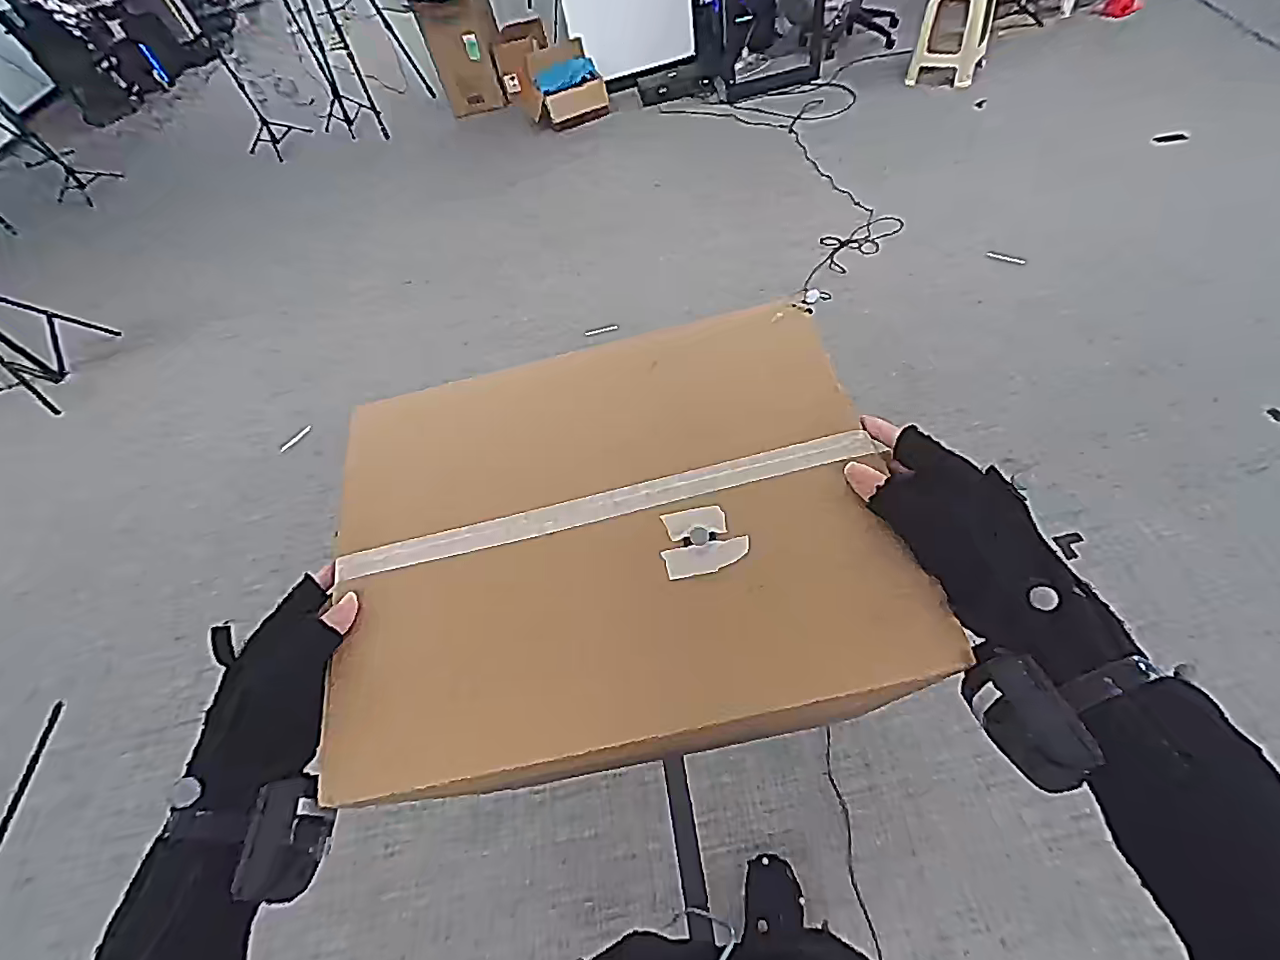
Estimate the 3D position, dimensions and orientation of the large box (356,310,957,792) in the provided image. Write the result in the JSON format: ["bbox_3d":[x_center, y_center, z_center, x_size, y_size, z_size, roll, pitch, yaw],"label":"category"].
[{"bbox_3d":[0.000,0.094,0.544,0.408,0.320,0.320,-13,61,2],"label":"large box"}]
